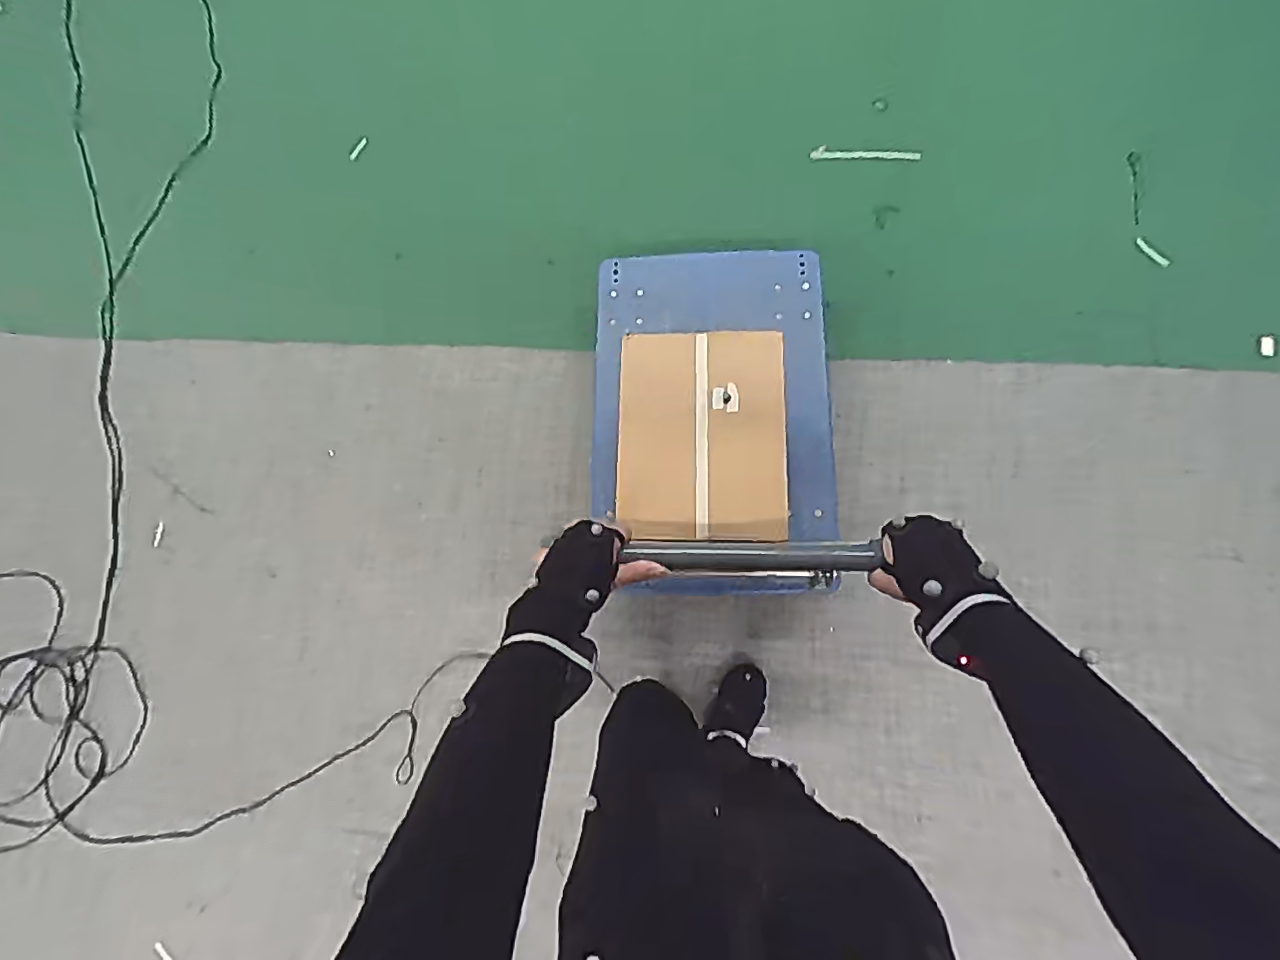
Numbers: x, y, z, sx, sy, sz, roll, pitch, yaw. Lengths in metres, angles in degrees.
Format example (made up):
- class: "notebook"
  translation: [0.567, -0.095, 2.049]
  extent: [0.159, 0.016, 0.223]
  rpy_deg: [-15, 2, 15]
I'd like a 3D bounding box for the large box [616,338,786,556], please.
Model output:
- class: "large box"
  translation: [0.123, -0.049, 1.169]
  extent: [0.320, 0.320, 0.408]
  rpy_deg: [0, 77, 4]
